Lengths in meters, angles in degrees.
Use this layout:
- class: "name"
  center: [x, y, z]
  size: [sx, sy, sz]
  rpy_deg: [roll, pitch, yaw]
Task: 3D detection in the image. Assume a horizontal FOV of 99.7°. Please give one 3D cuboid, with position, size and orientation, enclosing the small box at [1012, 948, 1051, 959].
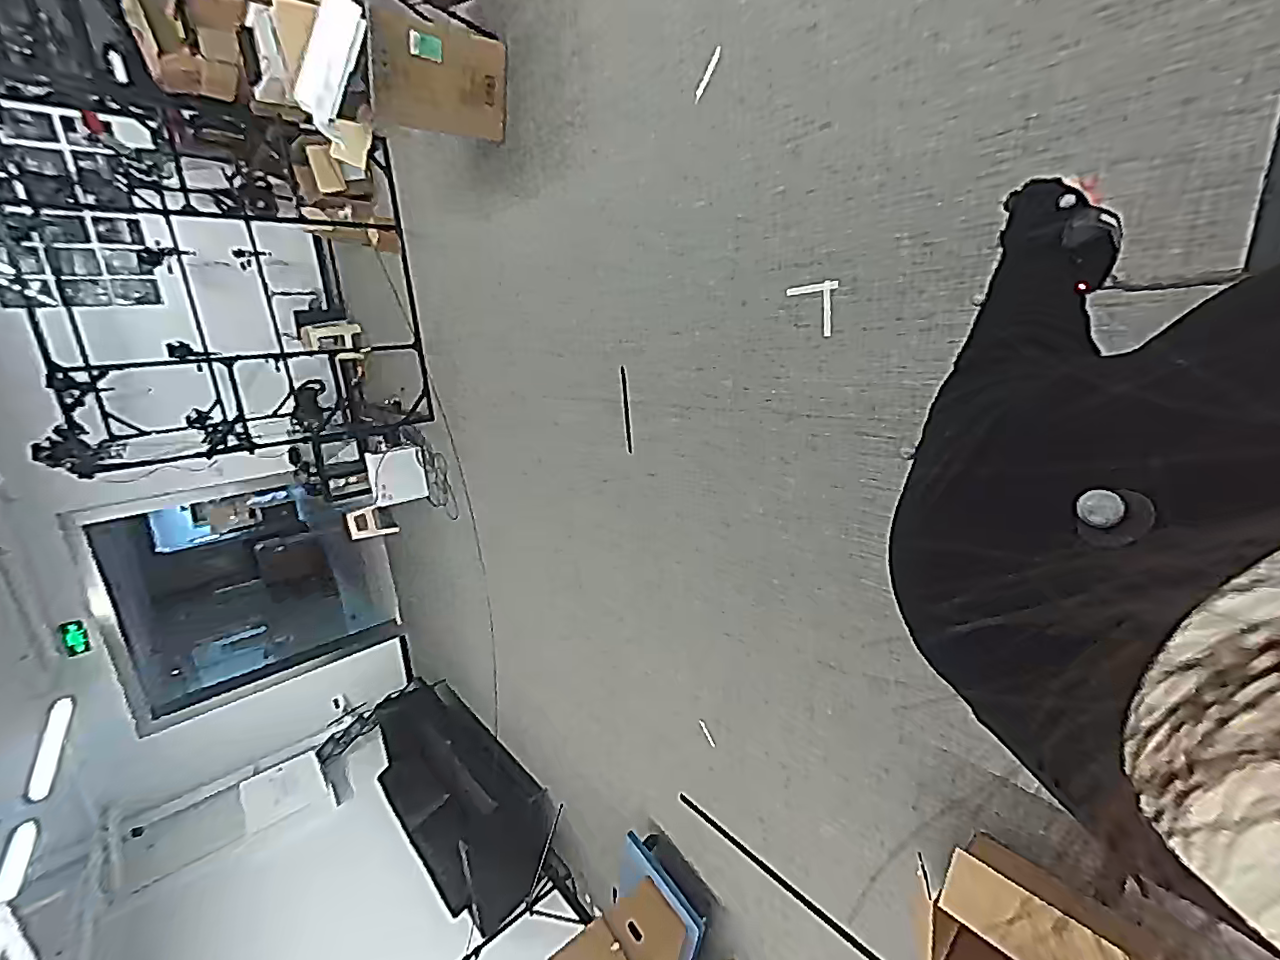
- class: "small box"
  center: [0.988, 1.284, 1.290]
  size: [0.179, 0.176, 0.168]
  rpy_deg: [-19, 85, 55]
